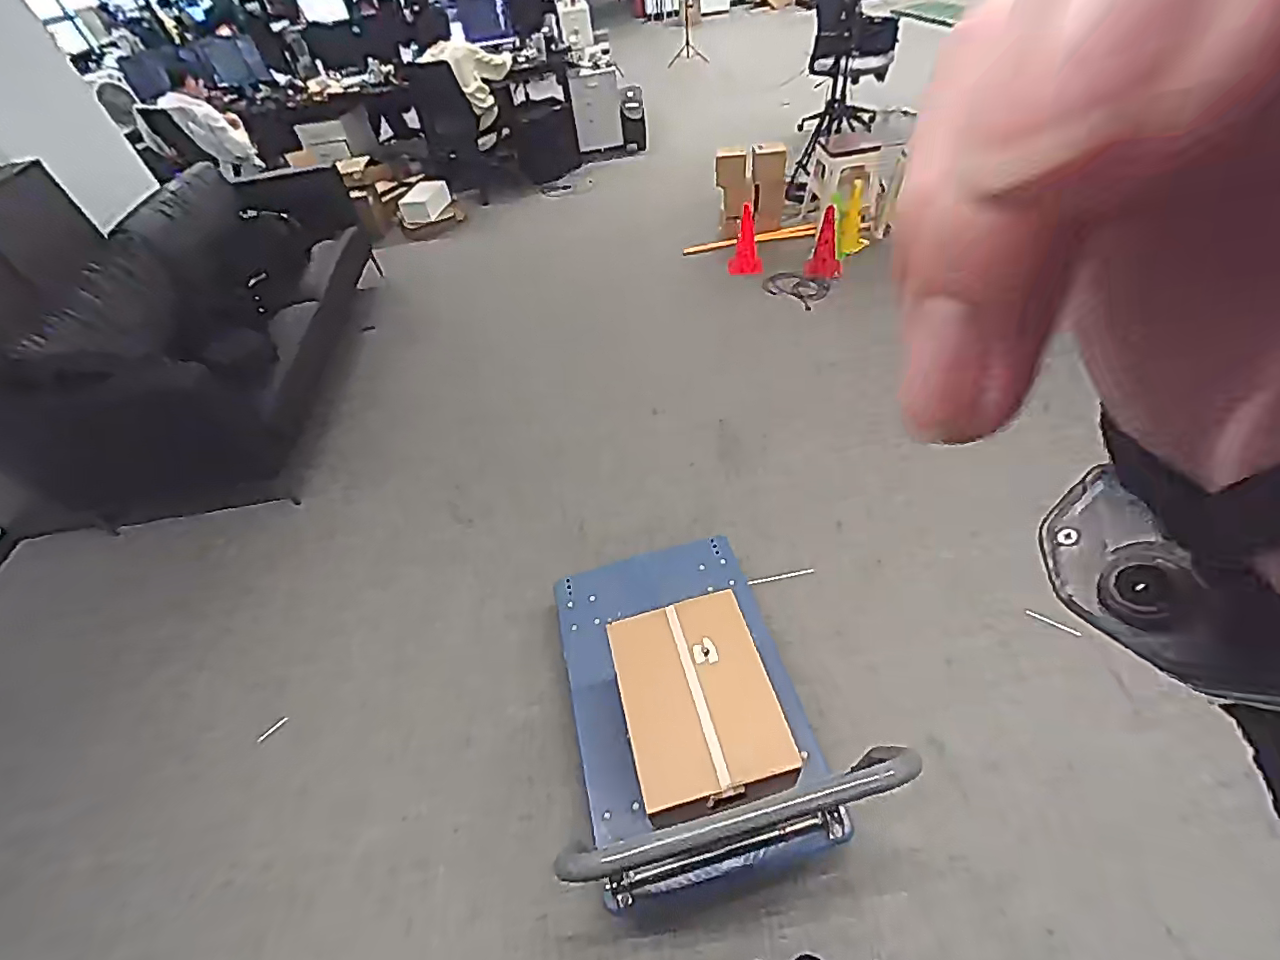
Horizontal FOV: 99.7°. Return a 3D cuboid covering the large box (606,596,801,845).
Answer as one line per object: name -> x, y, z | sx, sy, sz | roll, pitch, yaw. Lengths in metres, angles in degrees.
large box -> 0.136, 0.553, 1.260 | 0.320, 0.320, 0.408 | -15, 47, -4
